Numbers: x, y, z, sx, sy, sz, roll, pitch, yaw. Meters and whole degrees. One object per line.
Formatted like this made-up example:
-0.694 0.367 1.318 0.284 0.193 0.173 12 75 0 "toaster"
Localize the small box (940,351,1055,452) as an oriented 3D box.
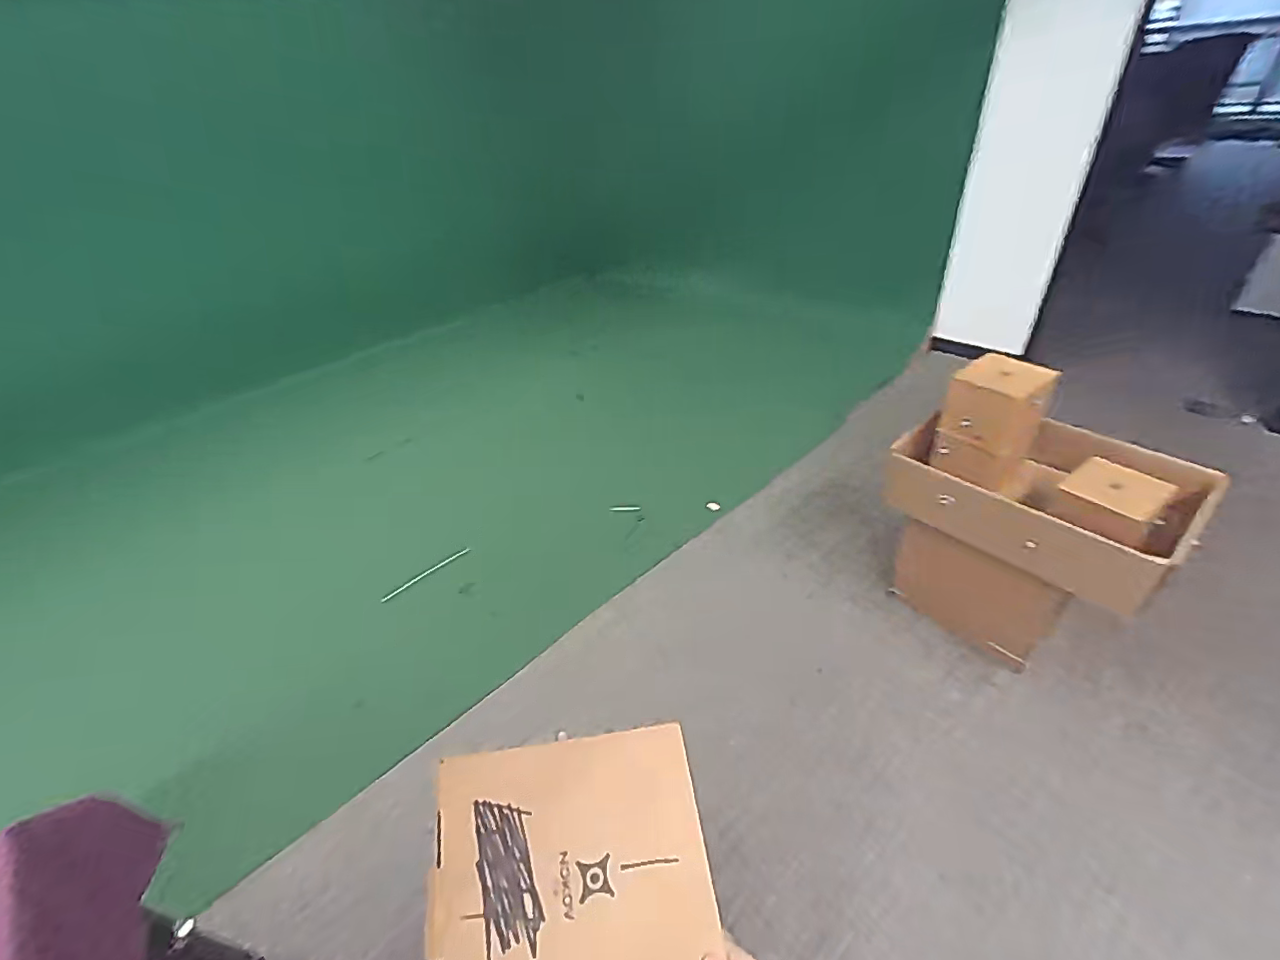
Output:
0.902 -0.201 1.382 0.179 0.176 0.168 -28 42 -23 "small box"
